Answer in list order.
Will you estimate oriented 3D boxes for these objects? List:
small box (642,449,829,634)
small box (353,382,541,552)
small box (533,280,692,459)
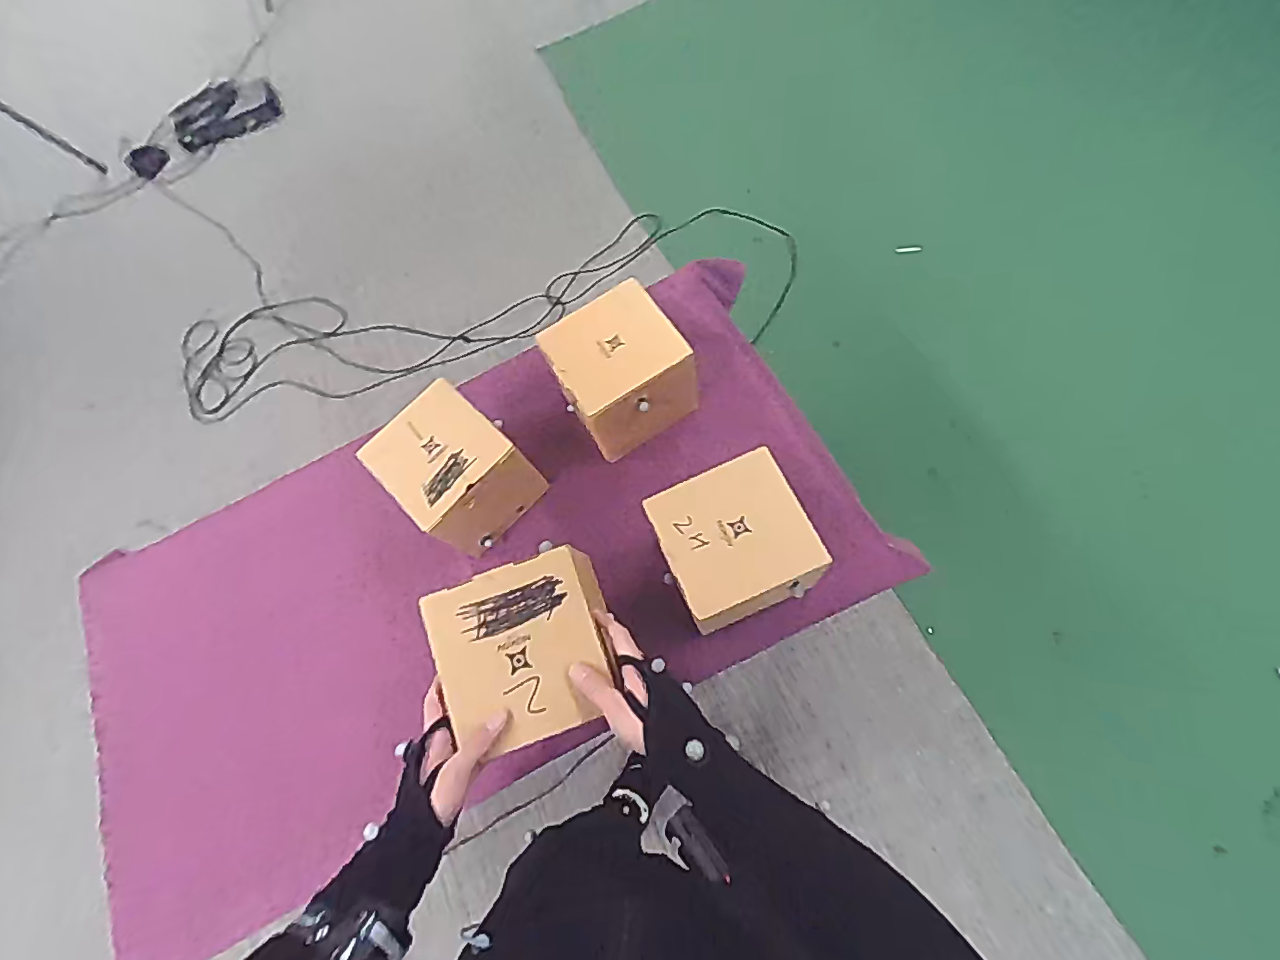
[{"bbox_3d":[0.120,0.090,0.717,0.179,0.176,0.168,-25,67,0],"label":"small box"},{"bbox_3d":[-0.279,-0.008,0.820,0.179,0.176,0.168,41,81,20],"label":"small box"},{"bbox_3d":[-0.032,-0.162,0.839,0.179,0.176,0.168,-34,69,-2],"label":"small box"}]
